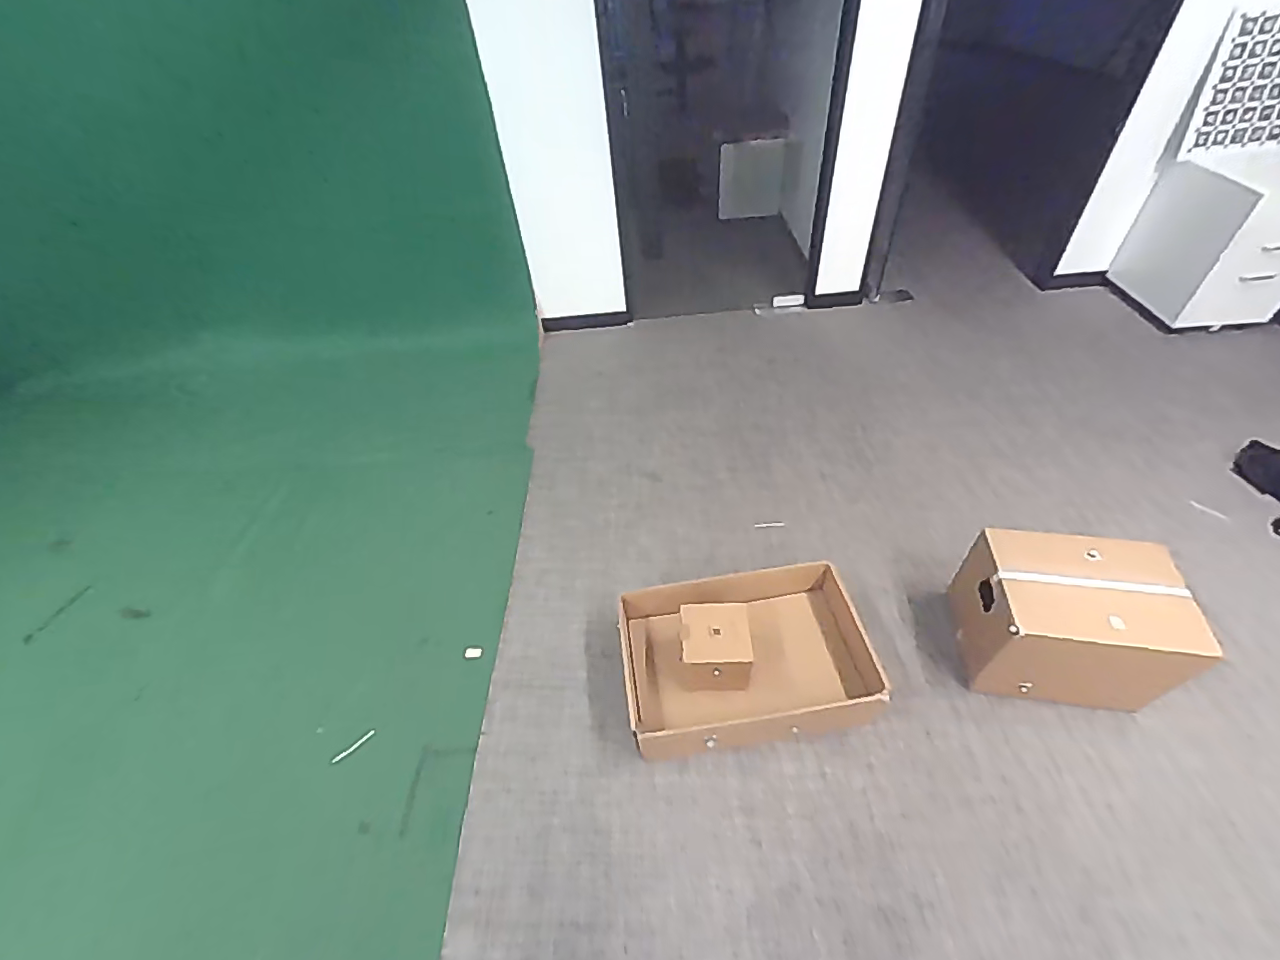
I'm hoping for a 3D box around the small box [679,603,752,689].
[{"bbox_3d":[0.195,0.445,1.441,0.179,0.176,0.168,-2,46,1],"label":"small box"}]
